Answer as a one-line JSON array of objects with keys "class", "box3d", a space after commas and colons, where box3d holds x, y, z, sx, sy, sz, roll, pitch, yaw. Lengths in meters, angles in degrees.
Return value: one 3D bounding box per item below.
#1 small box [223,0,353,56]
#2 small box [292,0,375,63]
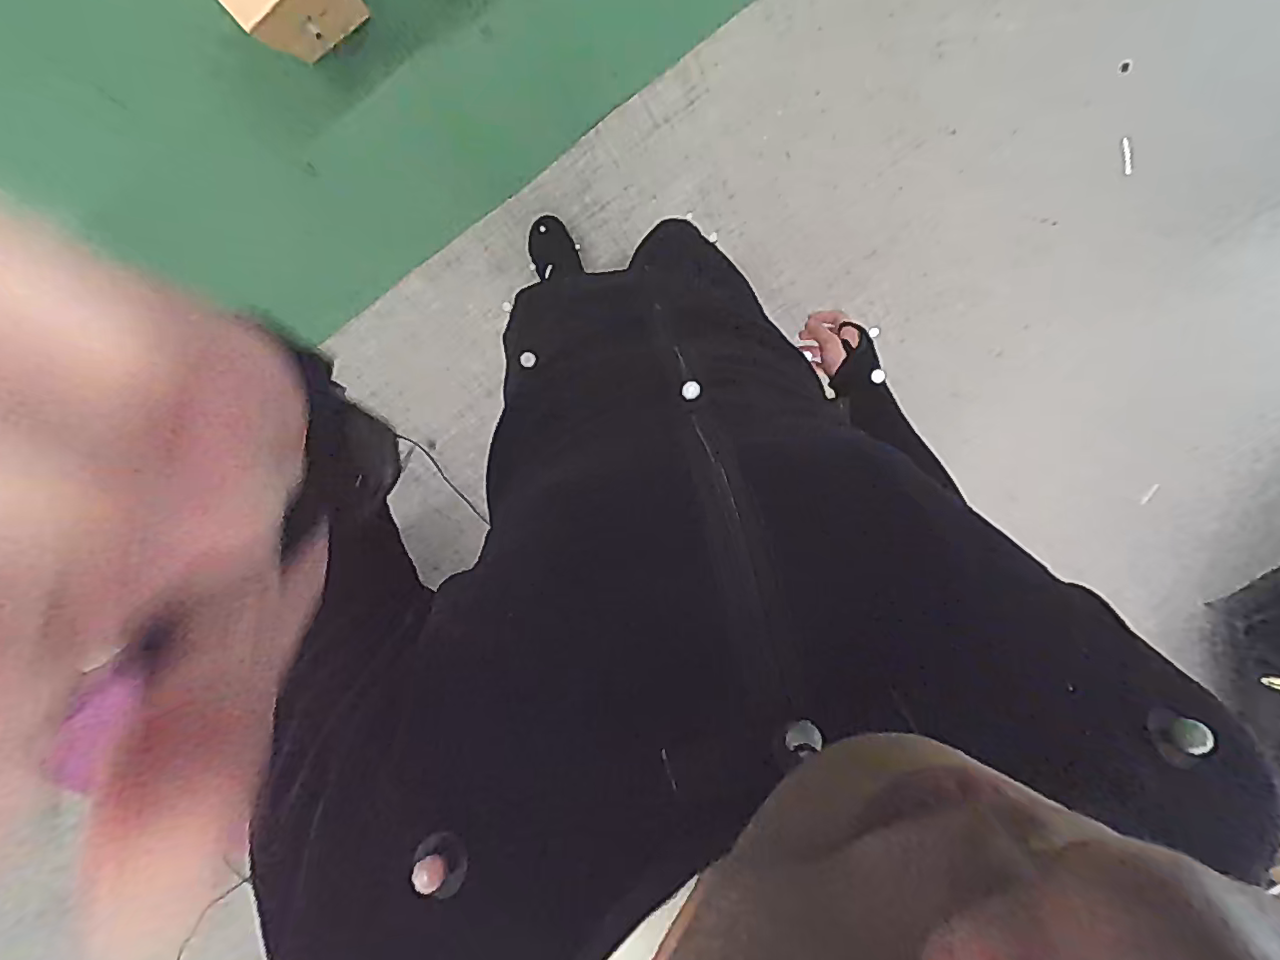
[{"class": "small box", "box3d": [-0.617, -0.851, 0.890, 0.168, 0.176, 0.179, -36, 119, 9]}, {"class": "small box", "box3d": [-0.642, -0.936, 1.028, 0.168, 0.176, 0.179, -33, 118, 7]}]
